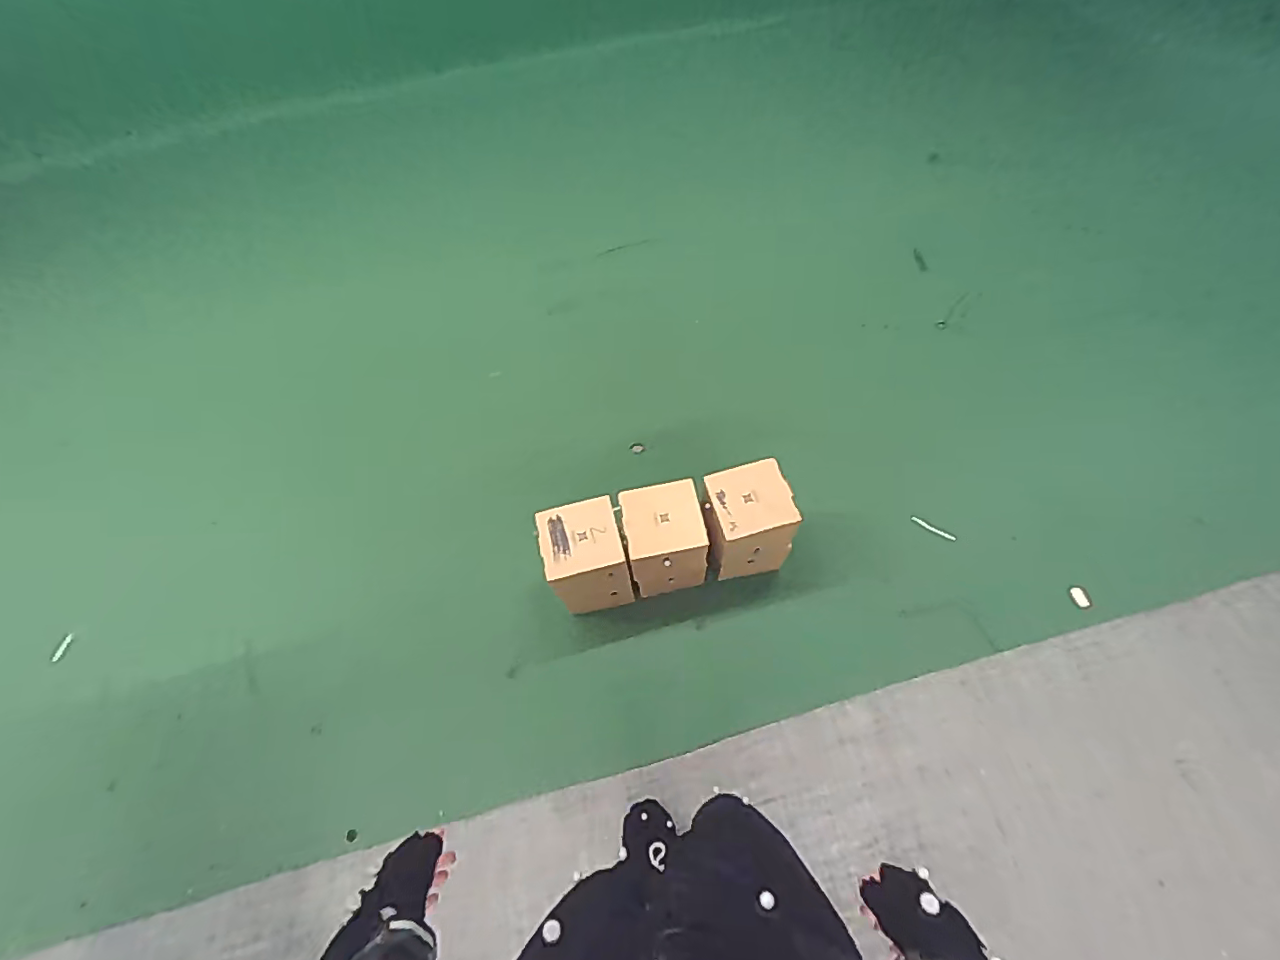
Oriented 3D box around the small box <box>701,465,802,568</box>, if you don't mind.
[{"bbox_3d":[0.254,0.090,1.277,0.179,0.176,0.168,-14,62,-5],"label":"small box"}]
